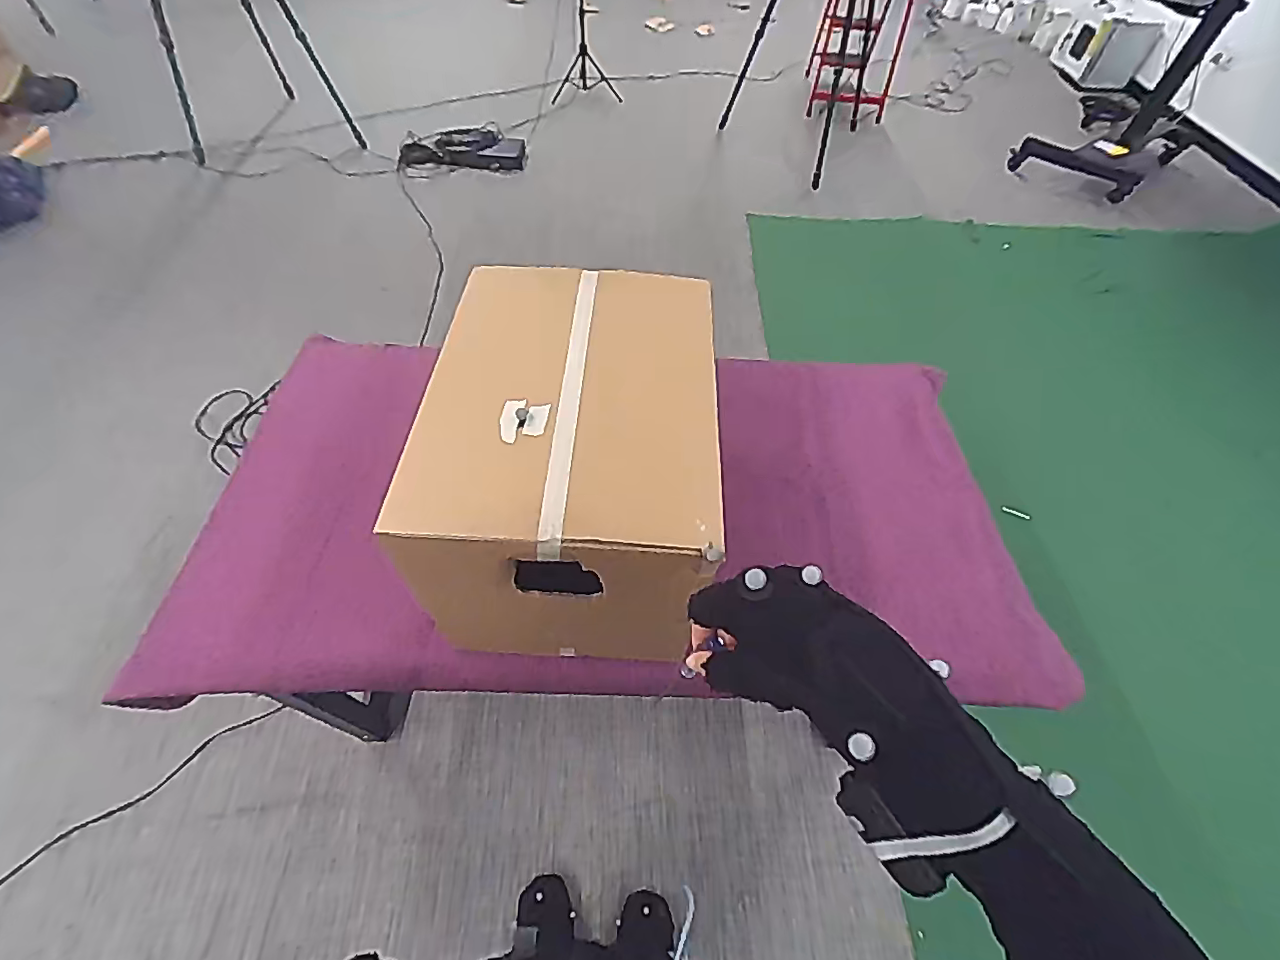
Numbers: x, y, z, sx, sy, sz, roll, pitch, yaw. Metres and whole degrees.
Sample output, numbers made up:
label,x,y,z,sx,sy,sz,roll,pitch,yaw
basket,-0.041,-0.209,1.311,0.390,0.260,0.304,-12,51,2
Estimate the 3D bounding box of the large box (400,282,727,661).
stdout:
label,x,y,z,sx,sy,sz,roll,pitch,yaw
large box,-0.073,-0.007,0.734,0.320,0.320,0.408,4,55,0
